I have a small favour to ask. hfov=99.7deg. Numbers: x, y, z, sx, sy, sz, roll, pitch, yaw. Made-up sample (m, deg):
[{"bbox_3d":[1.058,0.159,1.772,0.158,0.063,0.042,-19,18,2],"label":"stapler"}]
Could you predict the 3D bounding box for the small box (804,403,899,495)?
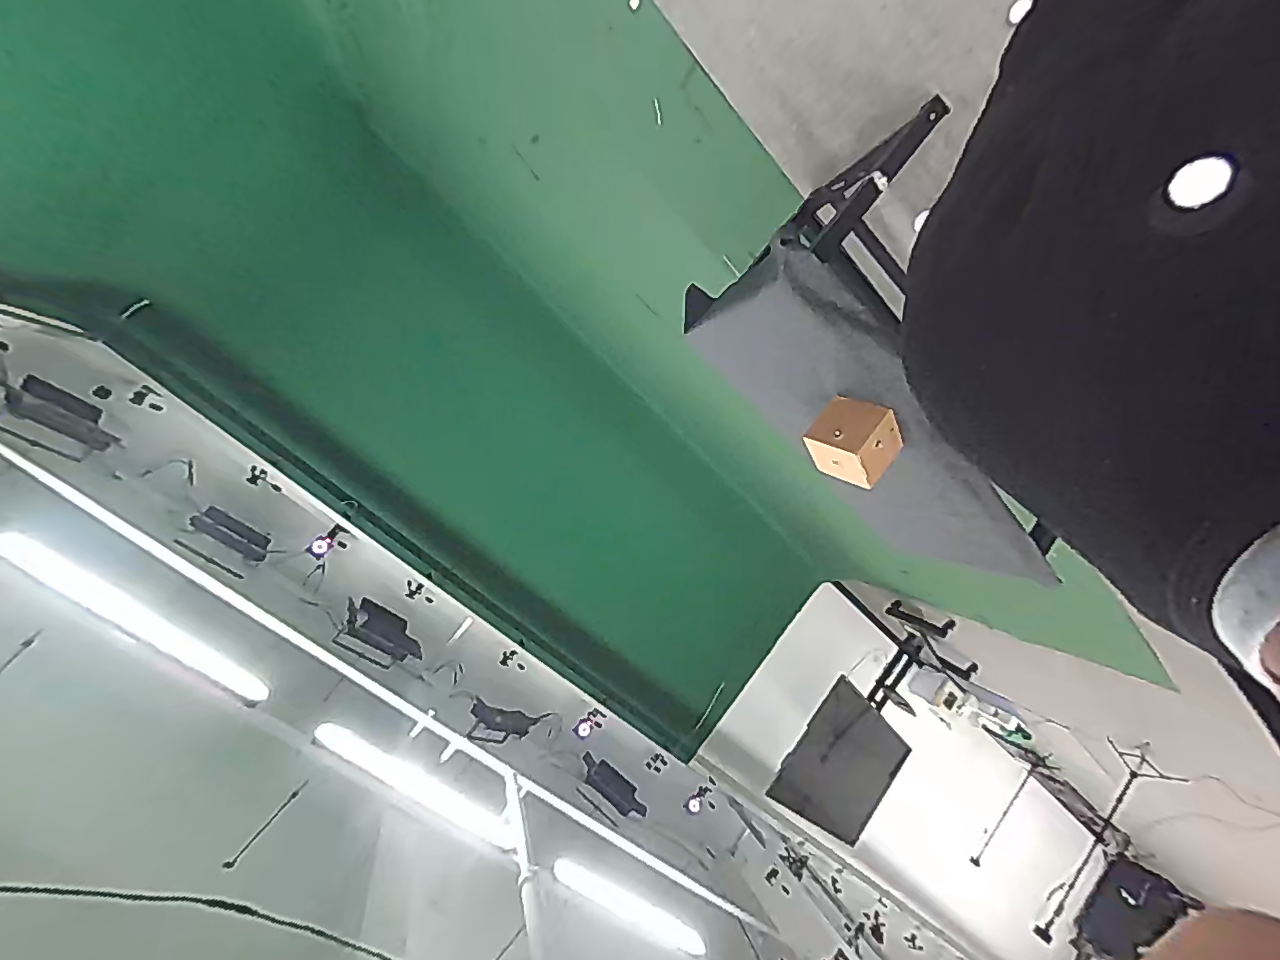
[{"bbox_3d":[0.599,-0.091,1.512,0.179,0.176,0.168,31,166,48],"label":"small box"}]
